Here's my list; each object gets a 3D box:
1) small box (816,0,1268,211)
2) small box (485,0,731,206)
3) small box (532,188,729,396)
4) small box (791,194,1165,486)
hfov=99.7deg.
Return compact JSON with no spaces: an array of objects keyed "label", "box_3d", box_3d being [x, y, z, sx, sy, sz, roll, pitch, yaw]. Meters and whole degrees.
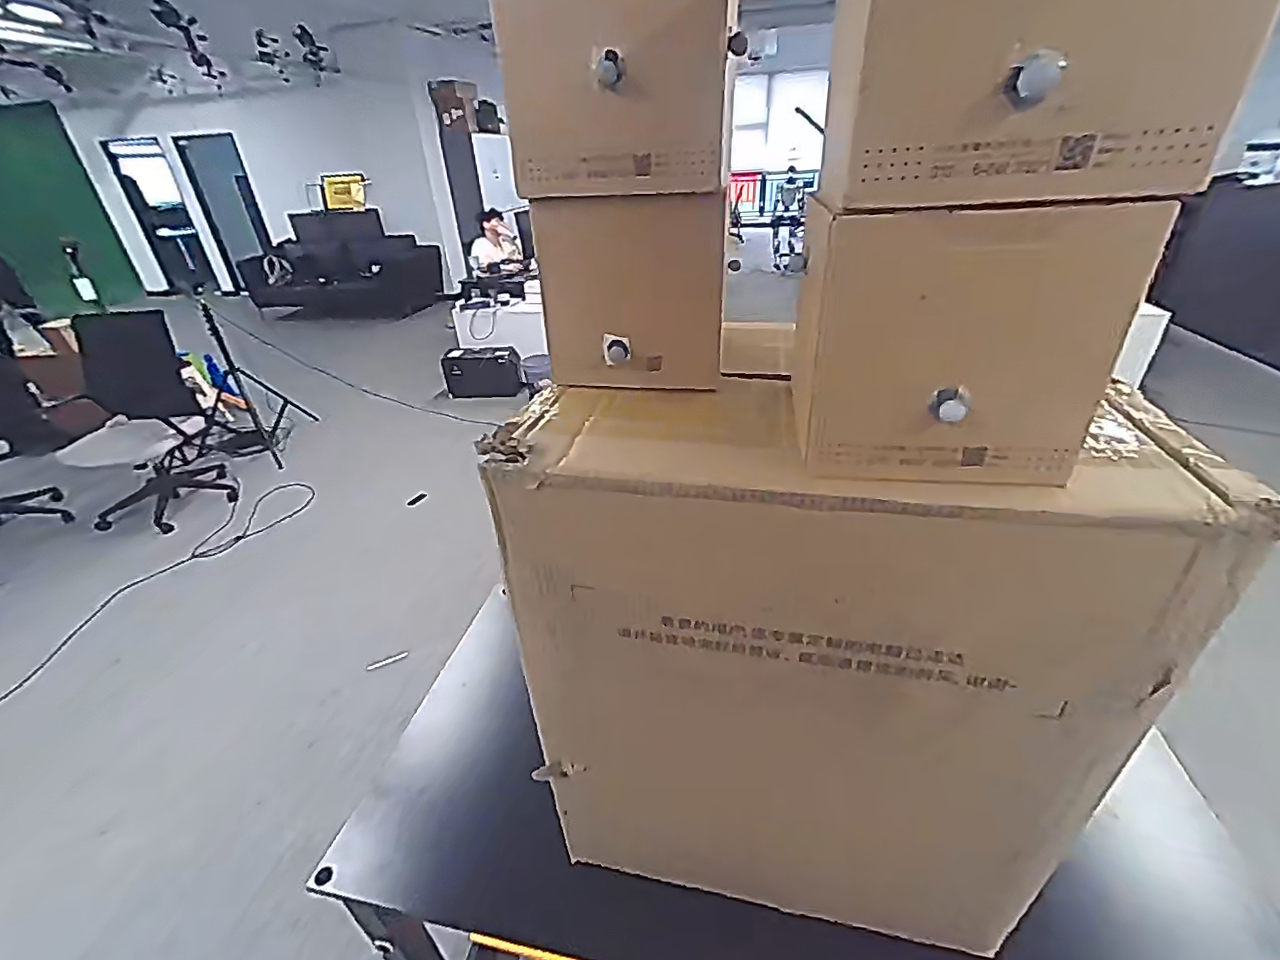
[{"label":"small box","box_3d":[0.197,-0.251,0.306,0.168,0.176,0.179,2,32,12]},{"label":"small box","box_3d":[-0.009,-0.329,0.455,0.168,0.176,0.179,3,31,10]},{"label":"small box","box_3d":[0.004,-0.196,0.551,0.168,0.176,0.179,1,32,9]},{"label":"small box","box_3d":[0.203,-0.113,0.395,0.168,0.176,0.179,2,31,11]}]
